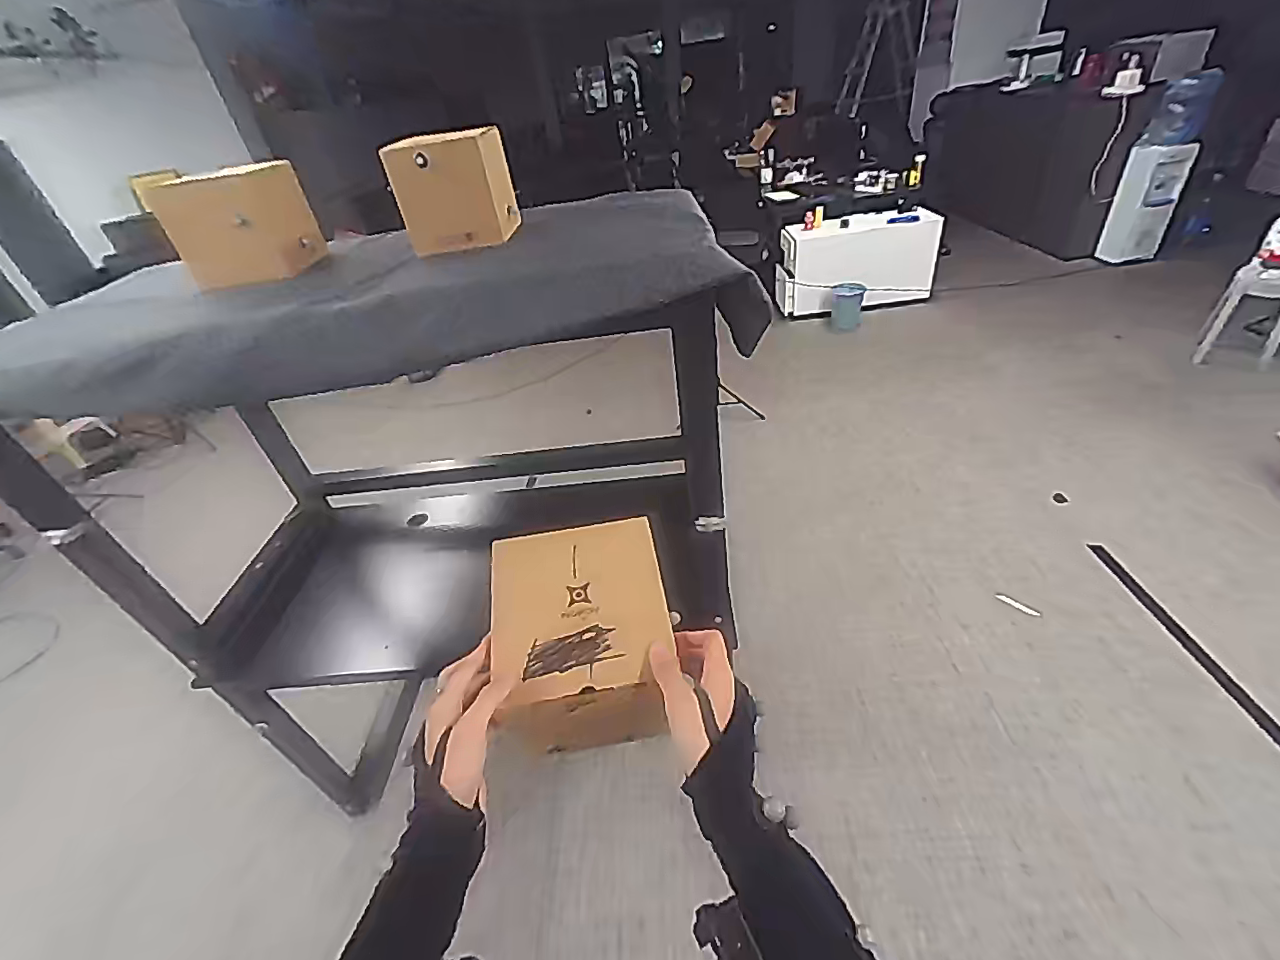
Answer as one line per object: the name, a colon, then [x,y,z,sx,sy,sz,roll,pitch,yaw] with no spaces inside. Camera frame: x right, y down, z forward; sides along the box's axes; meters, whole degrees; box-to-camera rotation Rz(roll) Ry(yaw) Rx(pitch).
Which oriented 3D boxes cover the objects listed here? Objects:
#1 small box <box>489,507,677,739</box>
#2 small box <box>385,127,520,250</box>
small box: [-0.055,0.157,0.570,0.168,0.176,0.179,-9,49,-4]
small box: [-0.326,-0.531,0.985,0.168,0.176,0.179,-6,36,4]
